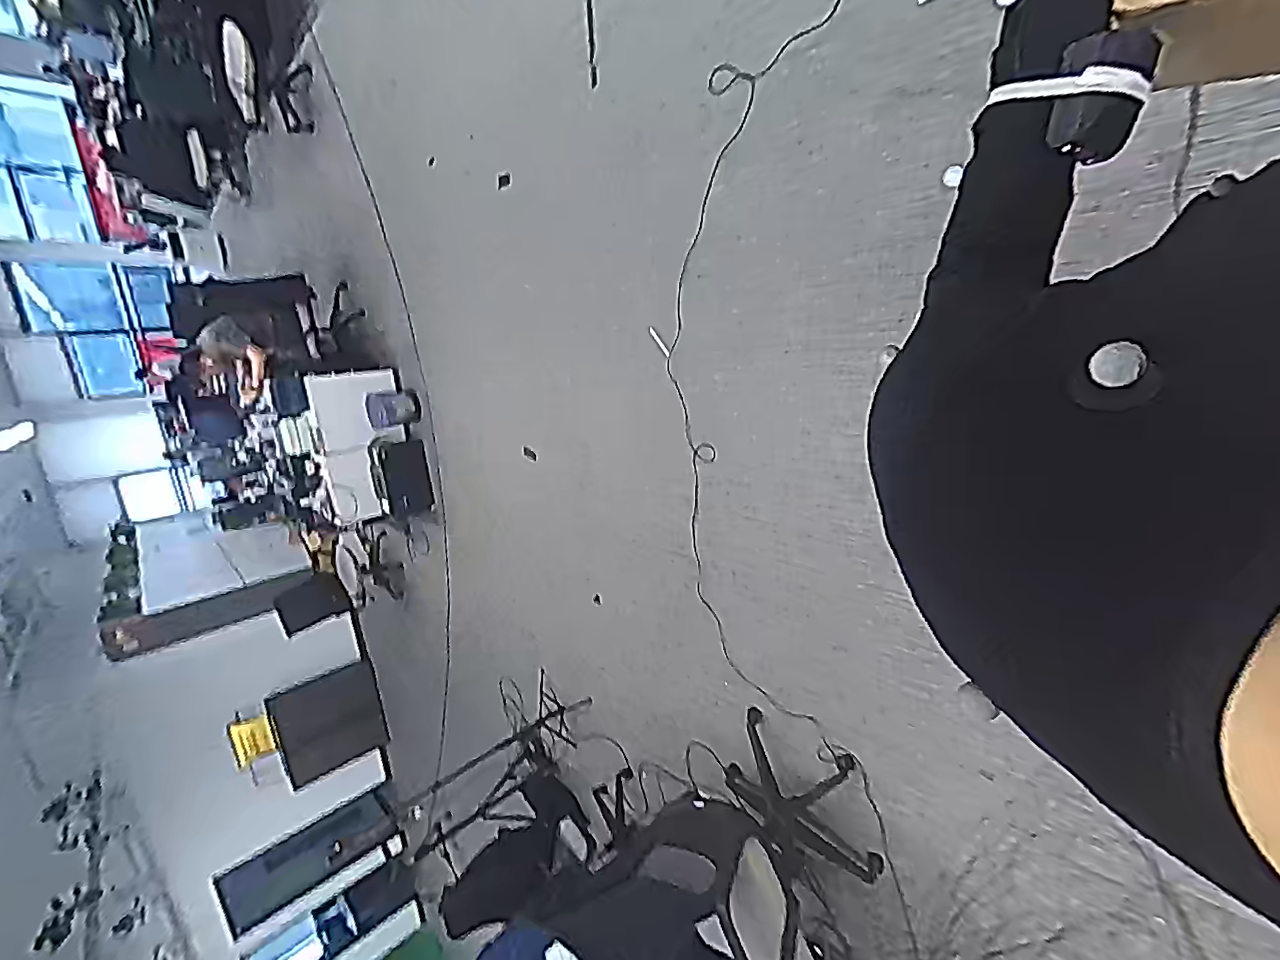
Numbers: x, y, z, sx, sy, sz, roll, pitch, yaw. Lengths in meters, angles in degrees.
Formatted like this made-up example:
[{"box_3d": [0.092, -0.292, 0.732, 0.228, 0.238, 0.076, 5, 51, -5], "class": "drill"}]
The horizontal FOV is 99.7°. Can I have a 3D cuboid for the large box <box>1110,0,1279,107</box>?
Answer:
[{"box_3d": [0.544, -0.427, 0.271, 0.408, 0.320, 0.320, 19, 121, 39], "class": "large box"}]
